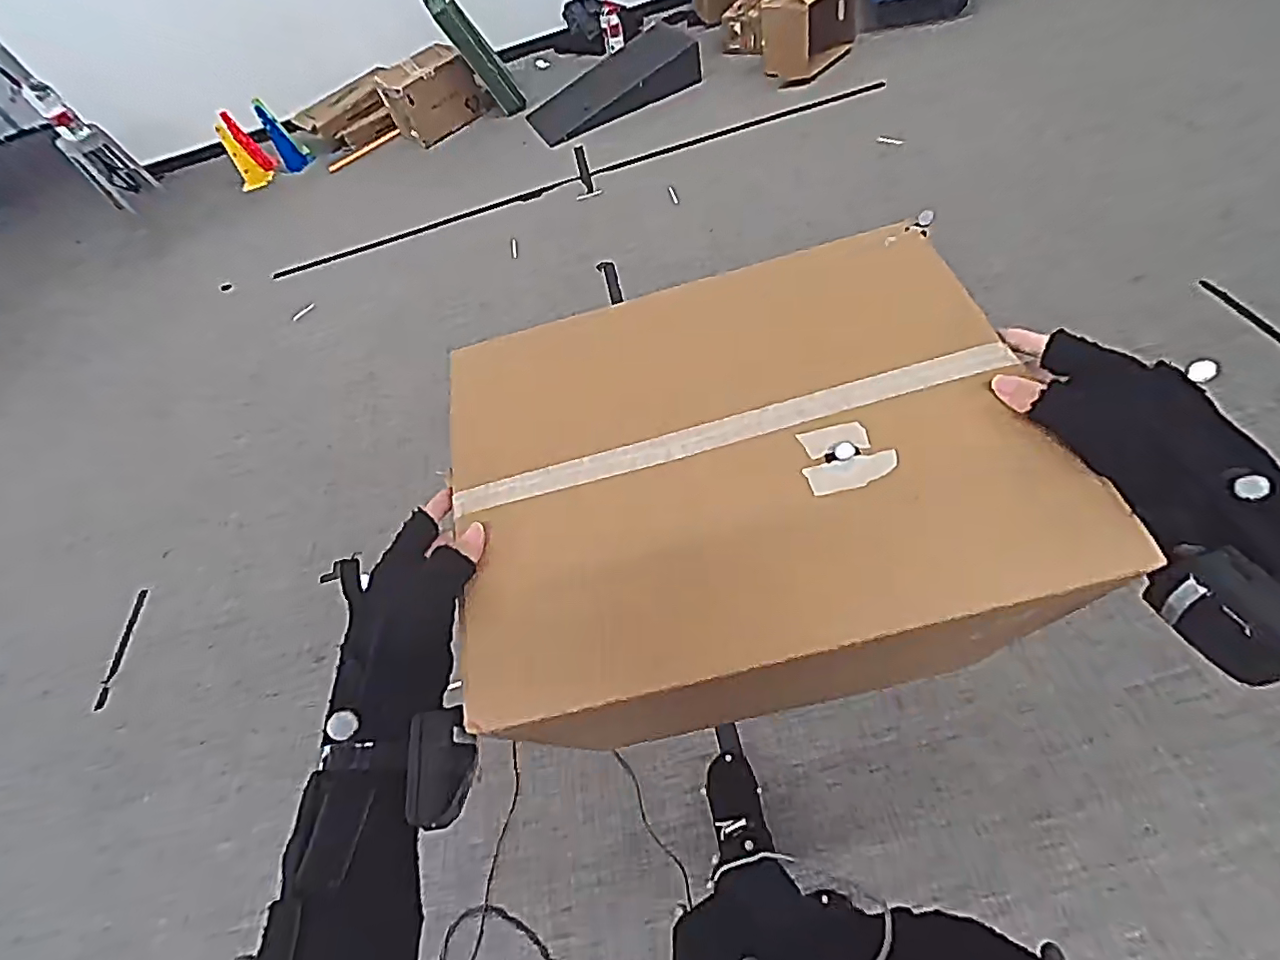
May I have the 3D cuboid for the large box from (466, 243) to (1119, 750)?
[{"bbox_3d":[0.089,0.044,0.529,0.408,0.320,0.320,-15,60,2],"label":"large box"}]
